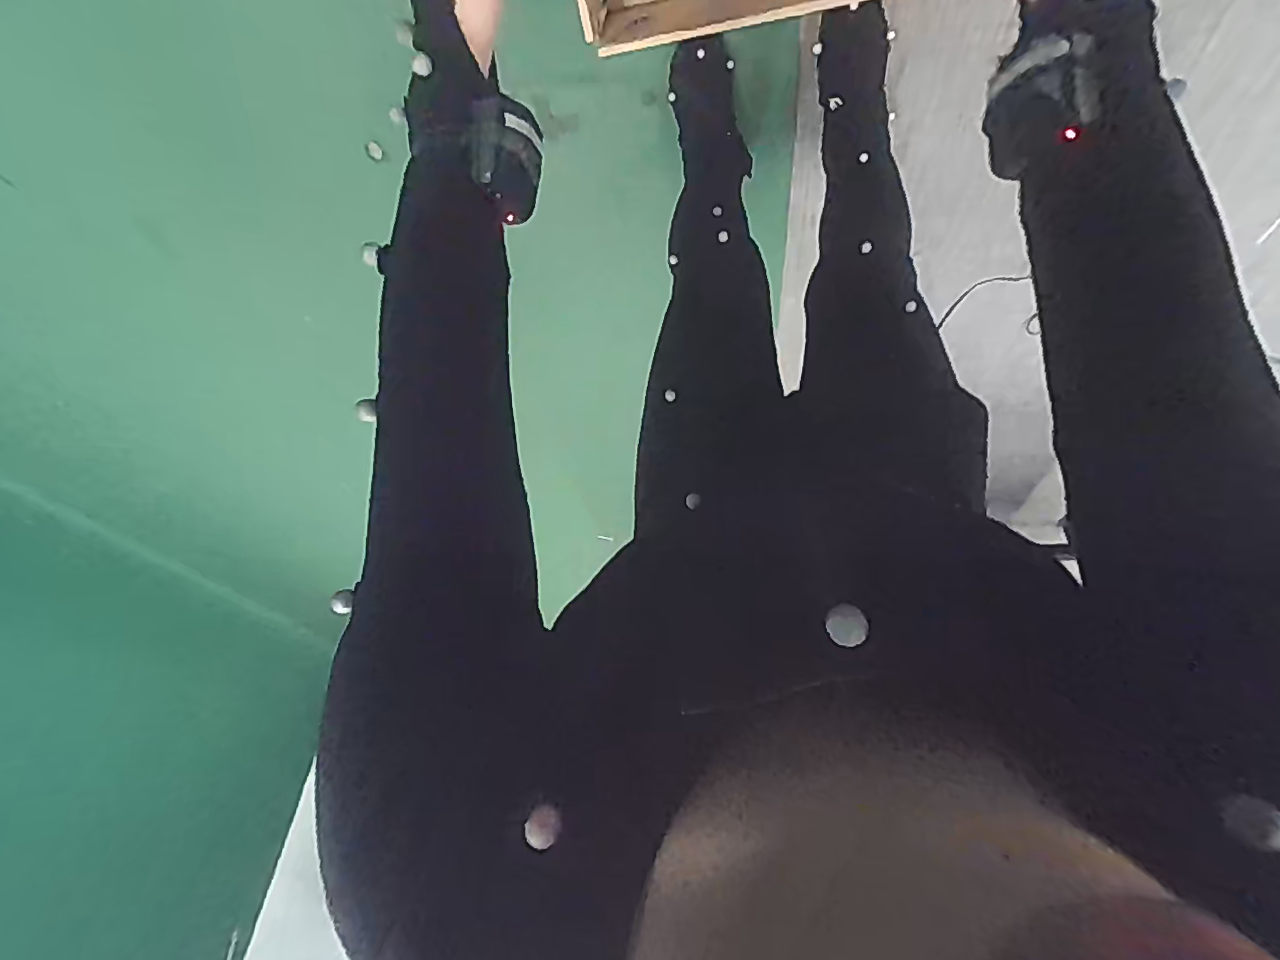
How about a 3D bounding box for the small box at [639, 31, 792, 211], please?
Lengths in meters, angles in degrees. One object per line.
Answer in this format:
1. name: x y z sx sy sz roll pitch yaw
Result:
1. small box: 0.137 -0.608 0.933 0.176 0.168 0.179 2 131 -50
